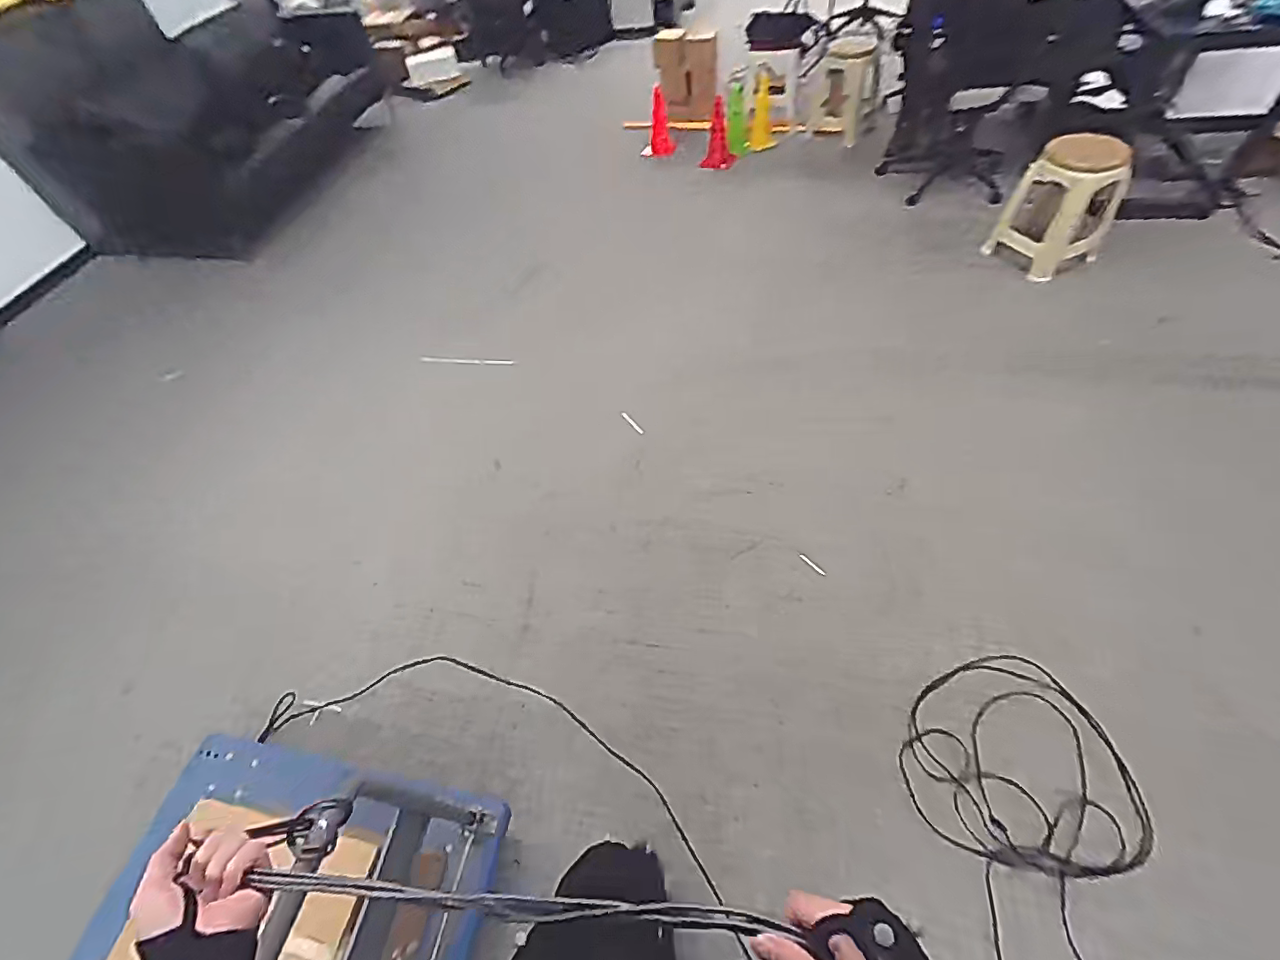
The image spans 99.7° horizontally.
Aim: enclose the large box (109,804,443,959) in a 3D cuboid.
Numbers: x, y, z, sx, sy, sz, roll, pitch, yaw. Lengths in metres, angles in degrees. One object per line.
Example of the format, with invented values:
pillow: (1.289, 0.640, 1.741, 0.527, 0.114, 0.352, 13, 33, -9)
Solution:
large box: (-0.666, 0.850, 1.035, 0.408, 0.320, 0.320, 5, 53, 13)
